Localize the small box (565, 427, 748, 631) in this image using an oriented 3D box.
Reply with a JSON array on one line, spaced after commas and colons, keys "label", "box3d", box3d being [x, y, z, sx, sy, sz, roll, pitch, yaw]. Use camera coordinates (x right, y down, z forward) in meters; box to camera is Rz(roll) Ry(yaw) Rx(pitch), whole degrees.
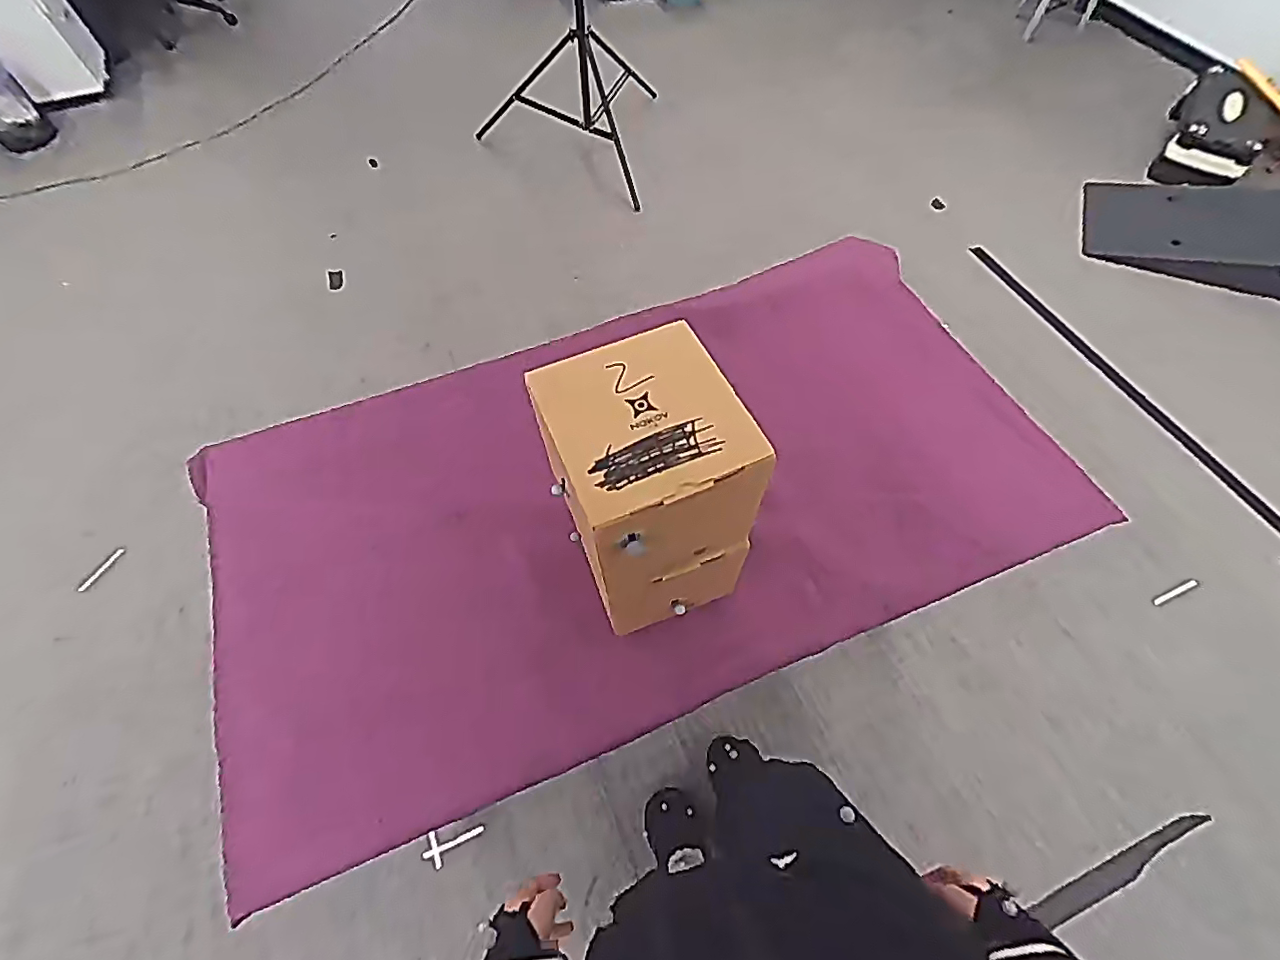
[{"label": "small box", "box3d": [0.014, 0.067, 0.684, 0.168, 0.176, 0.179, -19, 62, -9]}]
